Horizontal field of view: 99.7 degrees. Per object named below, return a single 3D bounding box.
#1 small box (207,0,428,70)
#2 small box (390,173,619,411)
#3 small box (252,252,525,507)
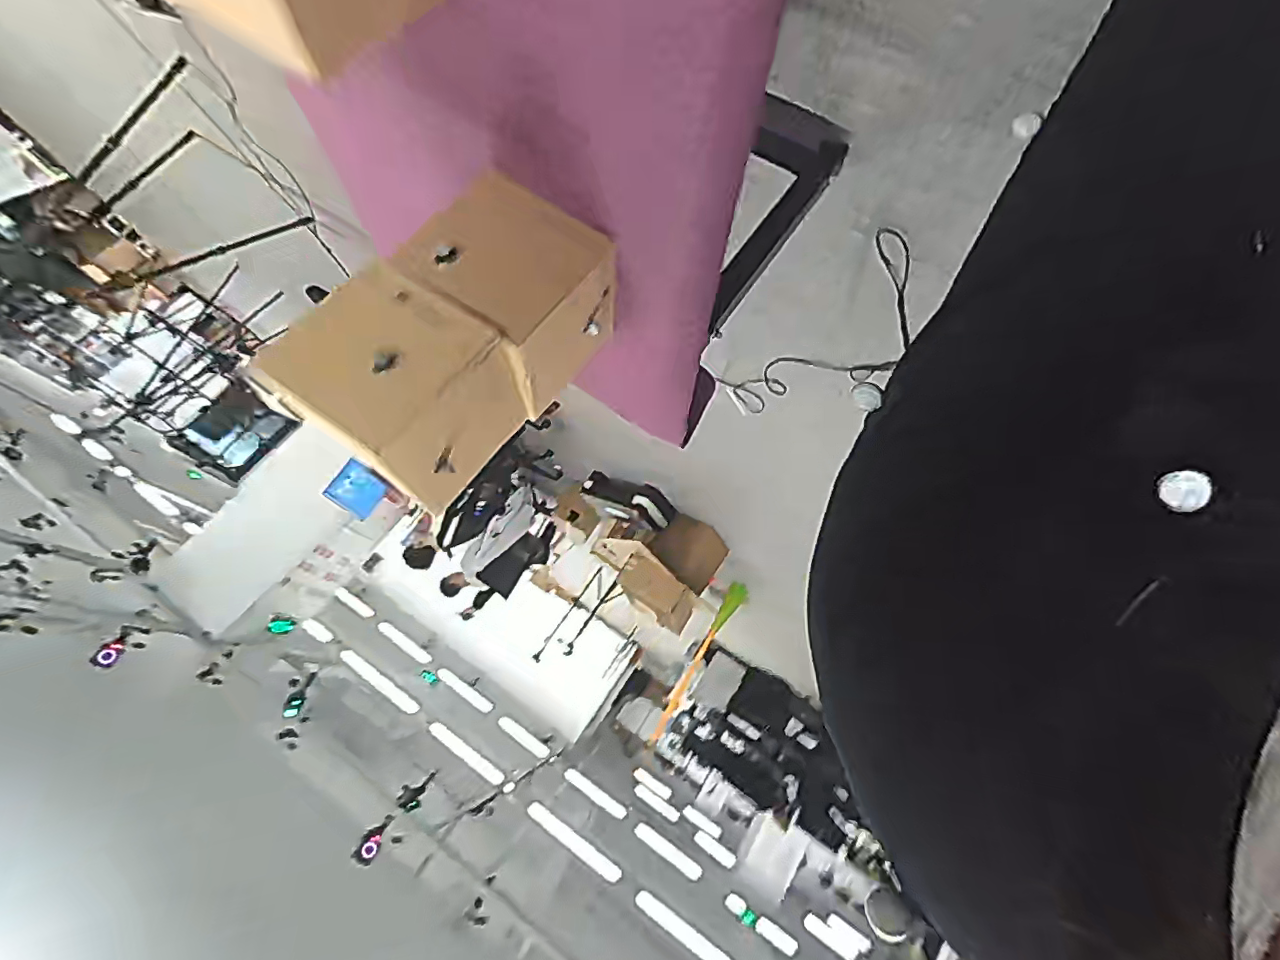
[{"bbox_3d":[-0.226,-0.414,0.326,0.168,0.176,0.179,33,161,8],"label":"small box"},{"bbox_3d":[-0.147,-0.221,0.638,0.179,0.176,0.168,33,161,6],"label":"small box"},{"bbox_3d":[-0.247,-0.104,0.582,0.168,0.176,0.179,32,161,10],"label":"small box"}]
